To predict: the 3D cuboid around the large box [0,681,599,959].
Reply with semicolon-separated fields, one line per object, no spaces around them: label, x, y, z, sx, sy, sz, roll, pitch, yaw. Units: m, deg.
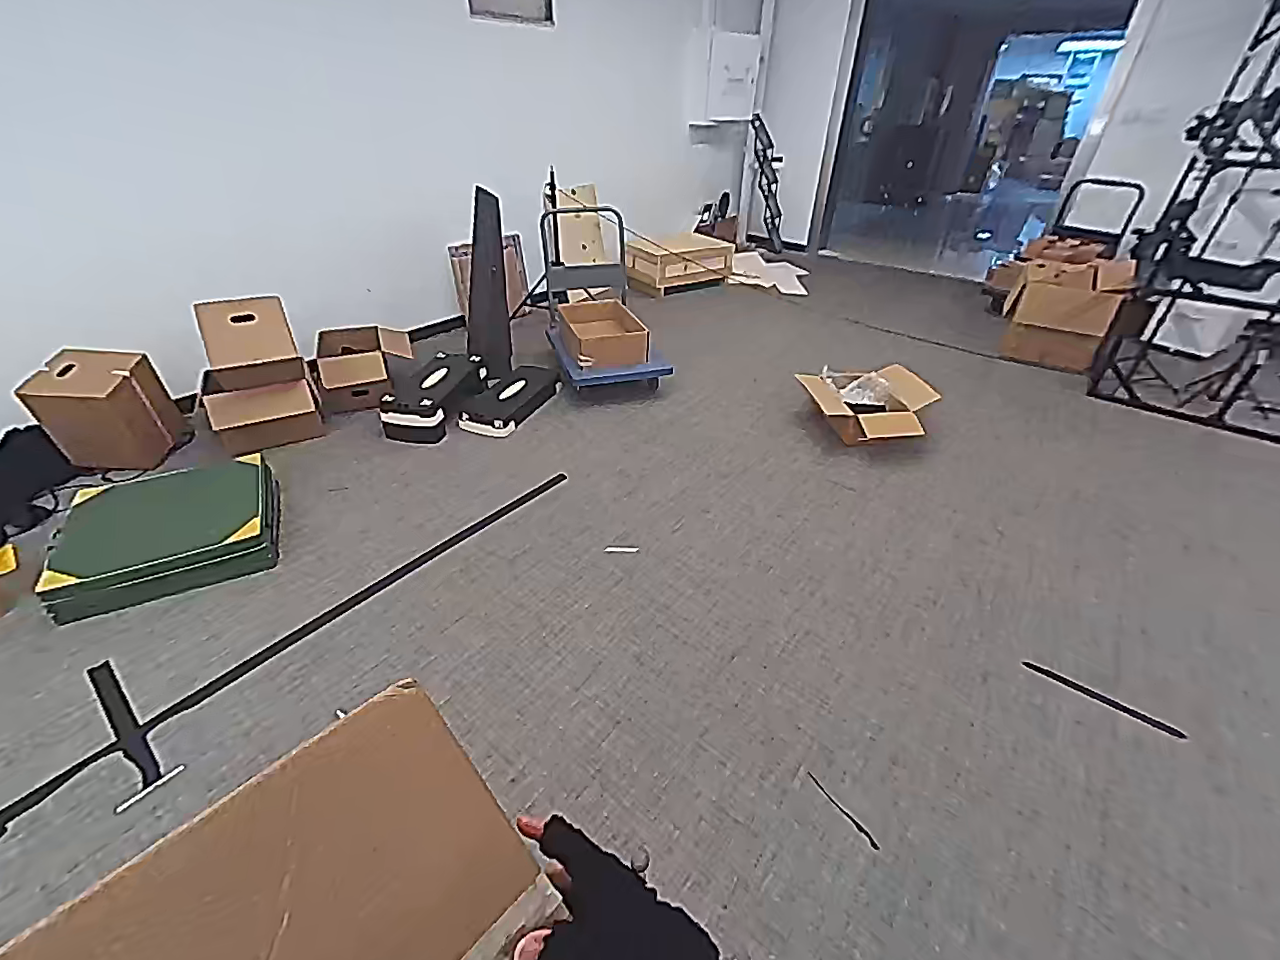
large box;-0.258;0.403;0.337;0.408;0.320;0.320;-32;82;-37
